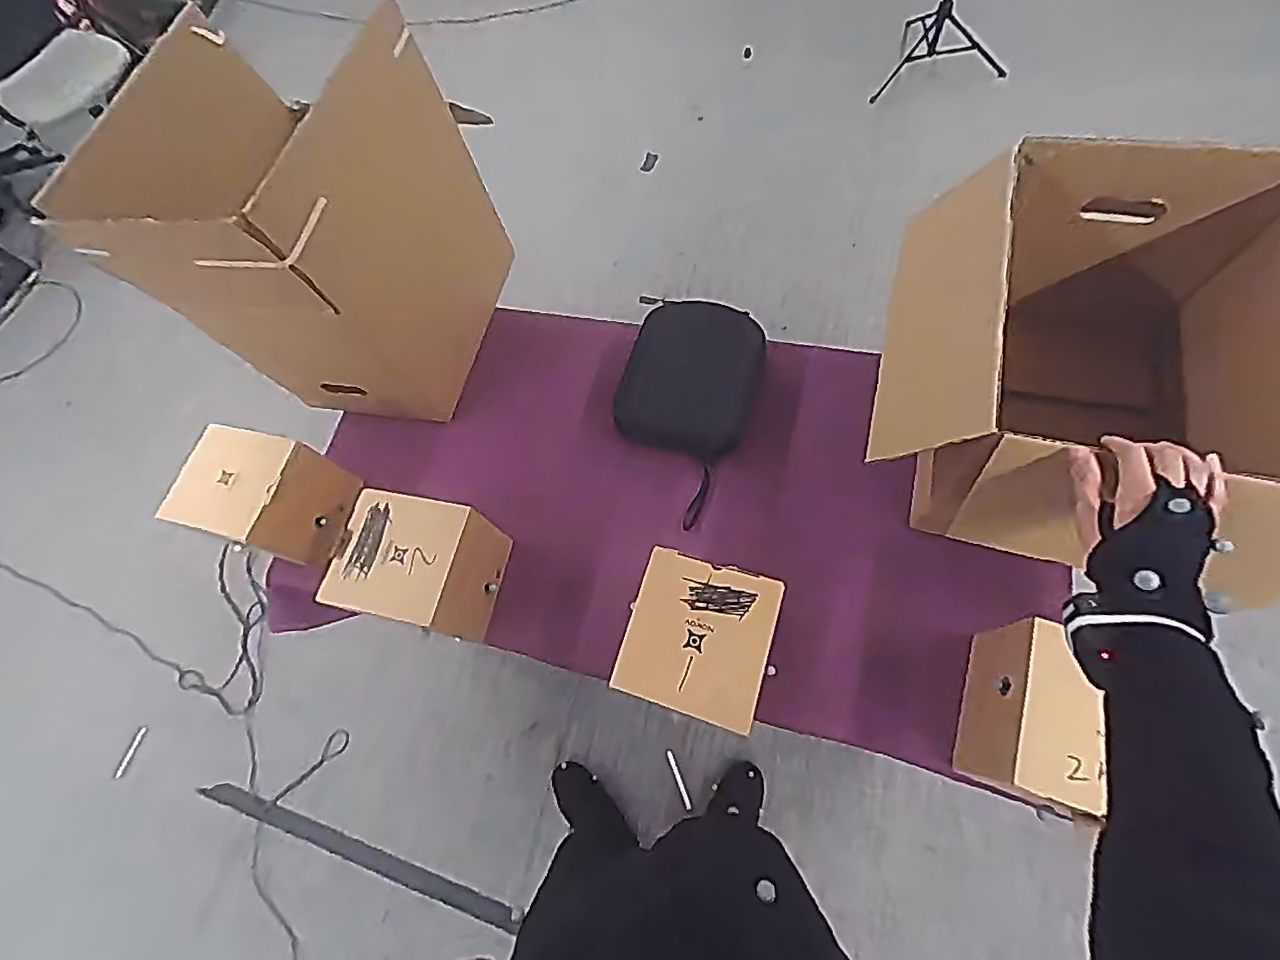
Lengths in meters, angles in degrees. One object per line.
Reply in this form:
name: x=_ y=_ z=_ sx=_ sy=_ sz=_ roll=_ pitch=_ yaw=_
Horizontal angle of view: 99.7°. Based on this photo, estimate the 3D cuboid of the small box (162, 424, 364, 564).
small box: x=-0.606 y=0.029 z=0.893 sx=0.179 sy=0.176 sz=0.168 roll=11 pitch=70 yaw=13

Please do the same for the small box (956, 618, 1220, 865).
small box: x=0.480 y=0.278 z=0.604 sx=0.168 sy=0.176 sz=0.179 roll=17 pitch=71 yaw=17

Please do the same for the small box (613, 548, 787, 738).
small box: x=0.082 y=0.212 z=0.701 sx=0.168 sy=0.176 sz=0.179 roll=15 pitch=71 yaw=16
